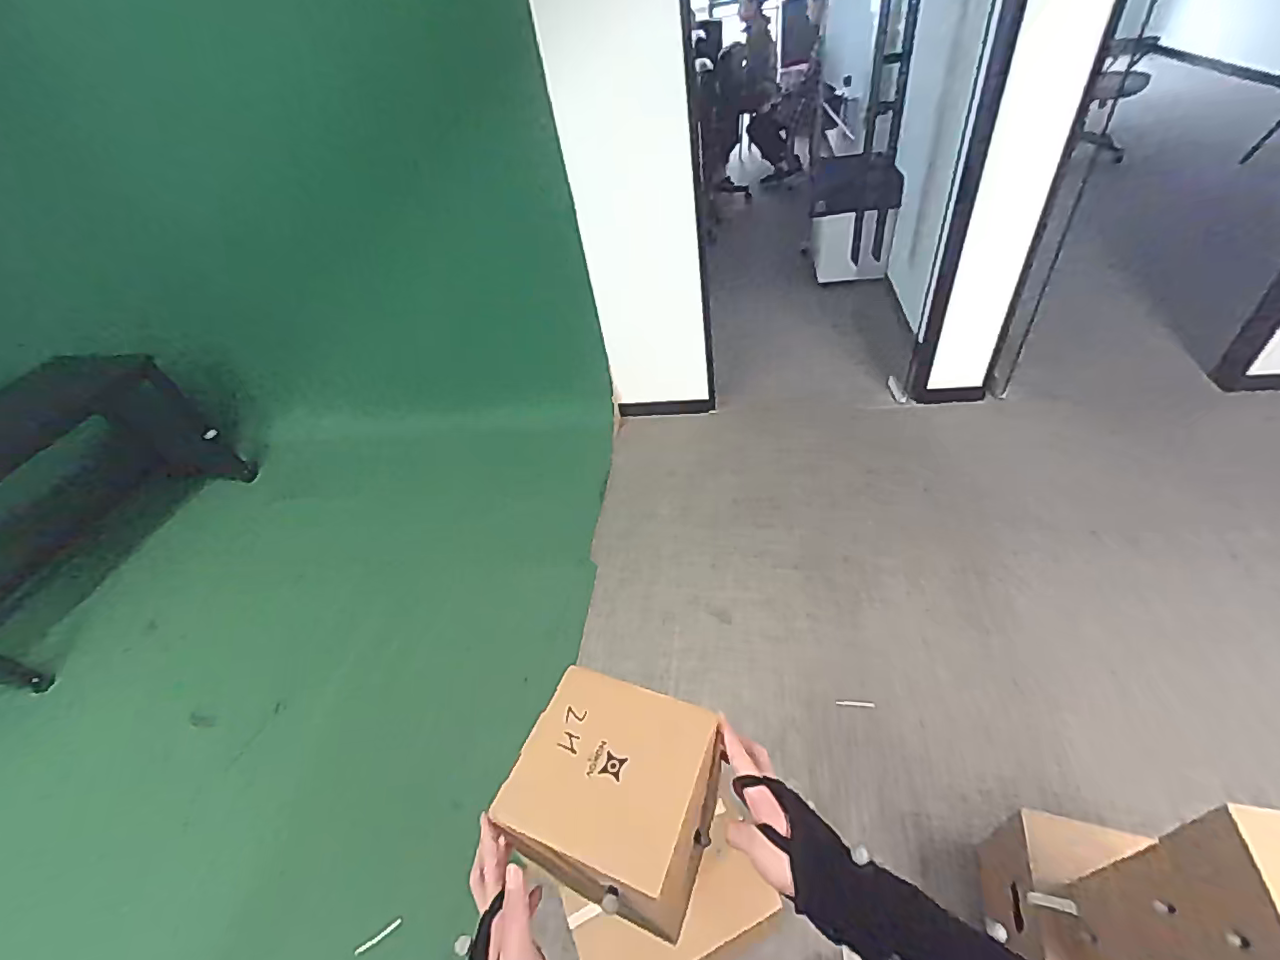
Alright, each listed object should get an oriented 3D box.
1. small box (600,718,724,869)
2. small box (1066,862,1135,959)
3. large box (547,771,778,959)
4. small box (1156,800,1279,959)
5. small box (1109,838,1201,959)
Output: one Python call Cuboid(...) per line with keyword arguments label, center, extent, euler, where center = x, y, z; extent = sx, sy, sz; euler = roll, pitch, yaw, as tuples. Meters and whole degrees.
Cuboid(label="small box", center=(0.043, 0.575, 0.988), extent=(0.179, 0.176, 0.168), euler=(-18, 44, -7))
Cuboid(label="small box", center=(0.839, 0.758, 0.878), extent=(0.168, 0.176, 0.179), euler=(4, 47, 15))
Cuboid(label="large box", center=(0.057, 0.923, 1.222), extent=(0.408, 0.320, 0.320), euler=(-24, 44, -11))
Cuboid(label="small box", center=(0.795, 0.524, 0.655), extent=(0.168, 0.176, 0.179), euler=(3, 45, 14))
Cuboid(label="small box", center=(0.819, 0.644, 0.763), extent=(0.168, 0.176, 0.179), euler=(3, 45, 15))
